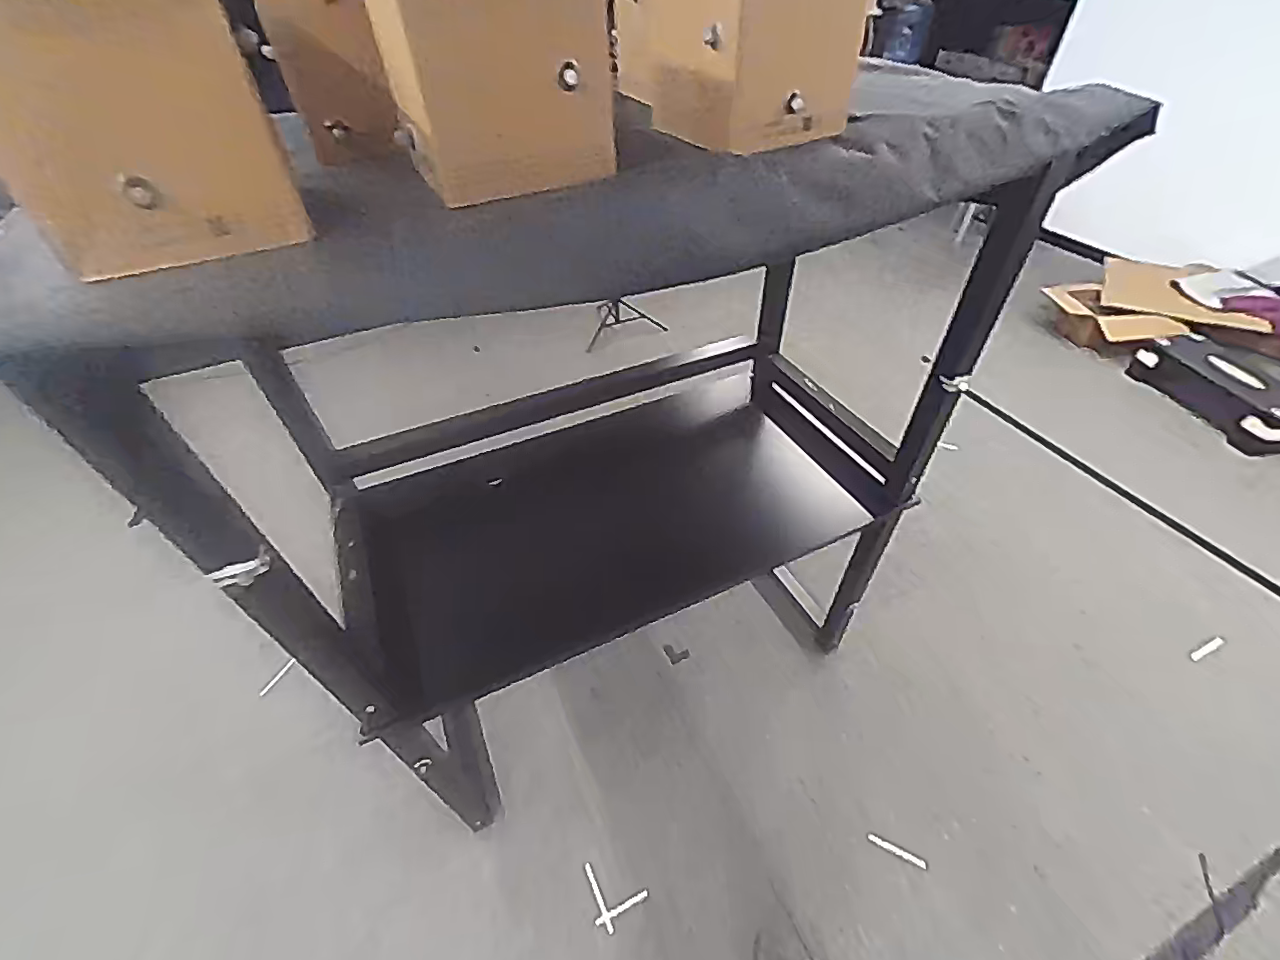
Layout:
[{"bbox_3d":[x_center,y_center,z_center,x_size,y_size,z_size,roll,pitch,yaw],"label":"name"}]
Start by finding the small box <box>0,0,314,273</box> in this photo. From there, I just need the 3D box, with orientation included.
[{"bbox_3d":[-0.388,-0.287,0.429,0.168,0.176,0.179,-22,49,-20],"label":"small box"}]

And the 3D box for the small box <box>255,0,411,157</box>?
[{"bbox_3d":[-0.328,-0.497,0.638,0.168,0.176,0.179,-19,47,-17],"label":"small box"}]

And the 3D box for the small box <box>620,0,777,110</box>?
[{"bbox_3d":[0.074,-0.644,0.769,0.168,0.176,0.179,-20,48,-16],"label":"small box"}]

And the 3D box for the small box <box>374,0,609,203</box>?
[{"bbox_3d":[-0.140,-0.388,0.523,0.179,0.176,0.168,-21,46,-20],"label":"small box"}]
